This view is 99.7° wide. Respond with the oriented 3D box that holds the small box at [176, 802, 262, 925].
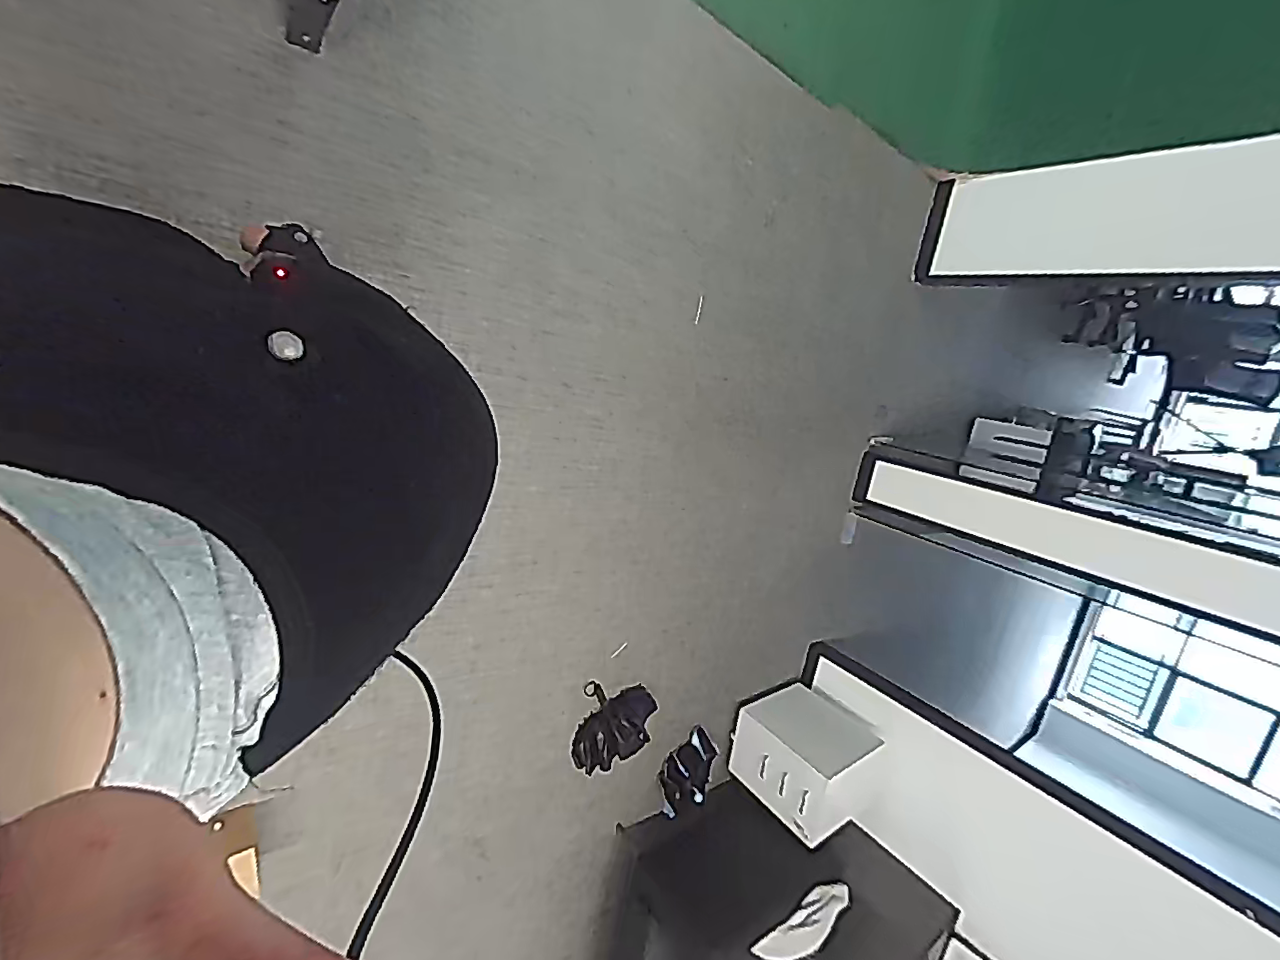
[{"bbox_3d":[-1.135,1.026,1.463,0.168,0.176,0.179,-7,110,-38],"label":"small box"}]
